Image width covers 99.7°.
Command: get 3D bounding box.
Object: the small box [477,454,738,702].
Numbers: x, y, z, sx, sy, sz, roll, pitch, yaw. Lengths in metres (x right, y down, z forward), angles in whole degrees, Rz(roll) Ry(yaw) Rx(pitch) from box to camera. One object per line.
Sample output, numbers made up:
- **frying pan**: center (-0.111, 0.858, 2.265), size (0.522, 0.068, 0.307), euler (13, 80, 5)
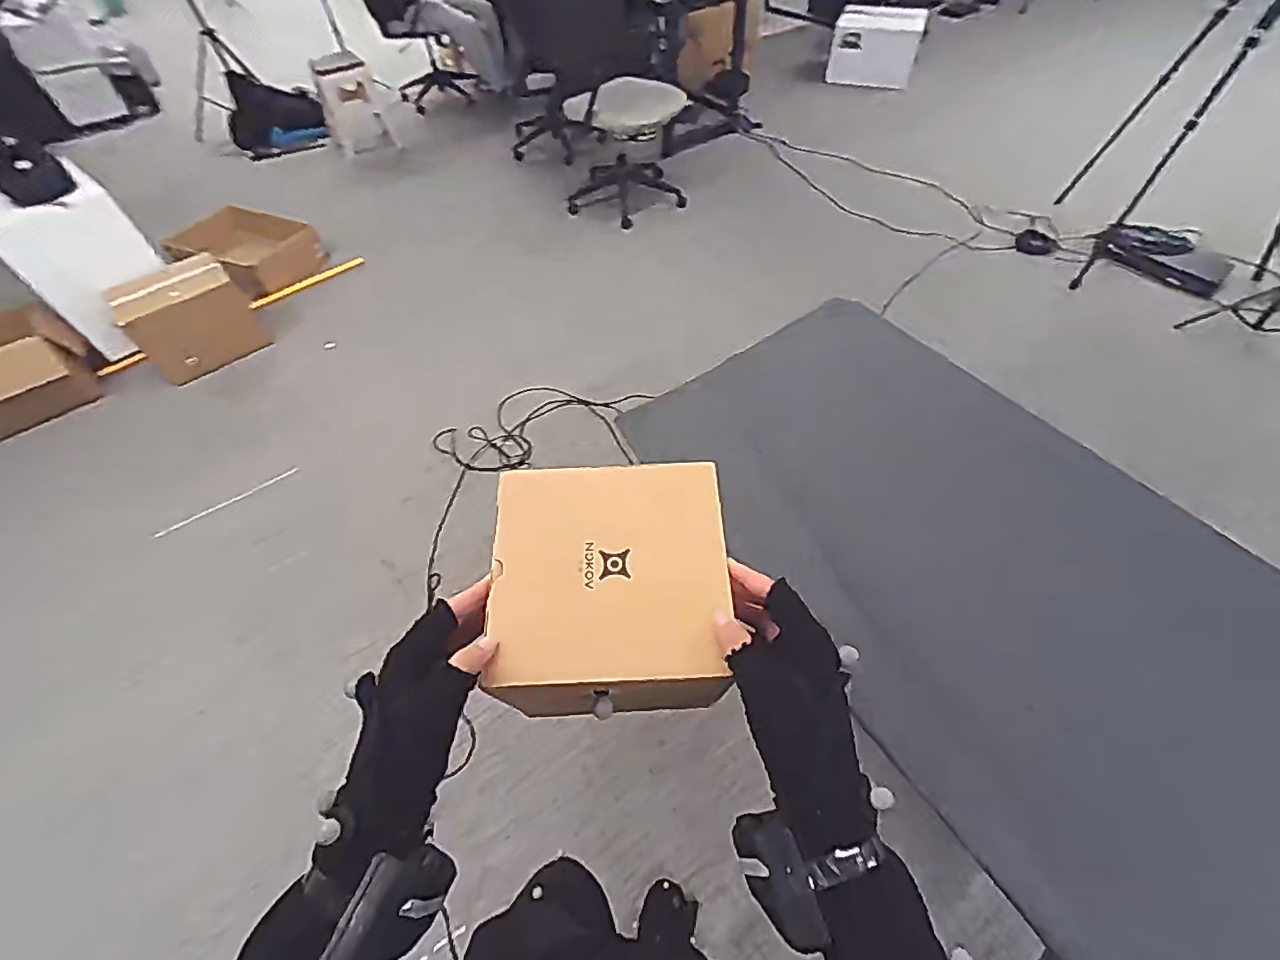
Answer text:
- **small box**: center (-0.022, 0.092, 0.464), size (0.179, 0.176, 0.168), euler (-3, 61, 1)
